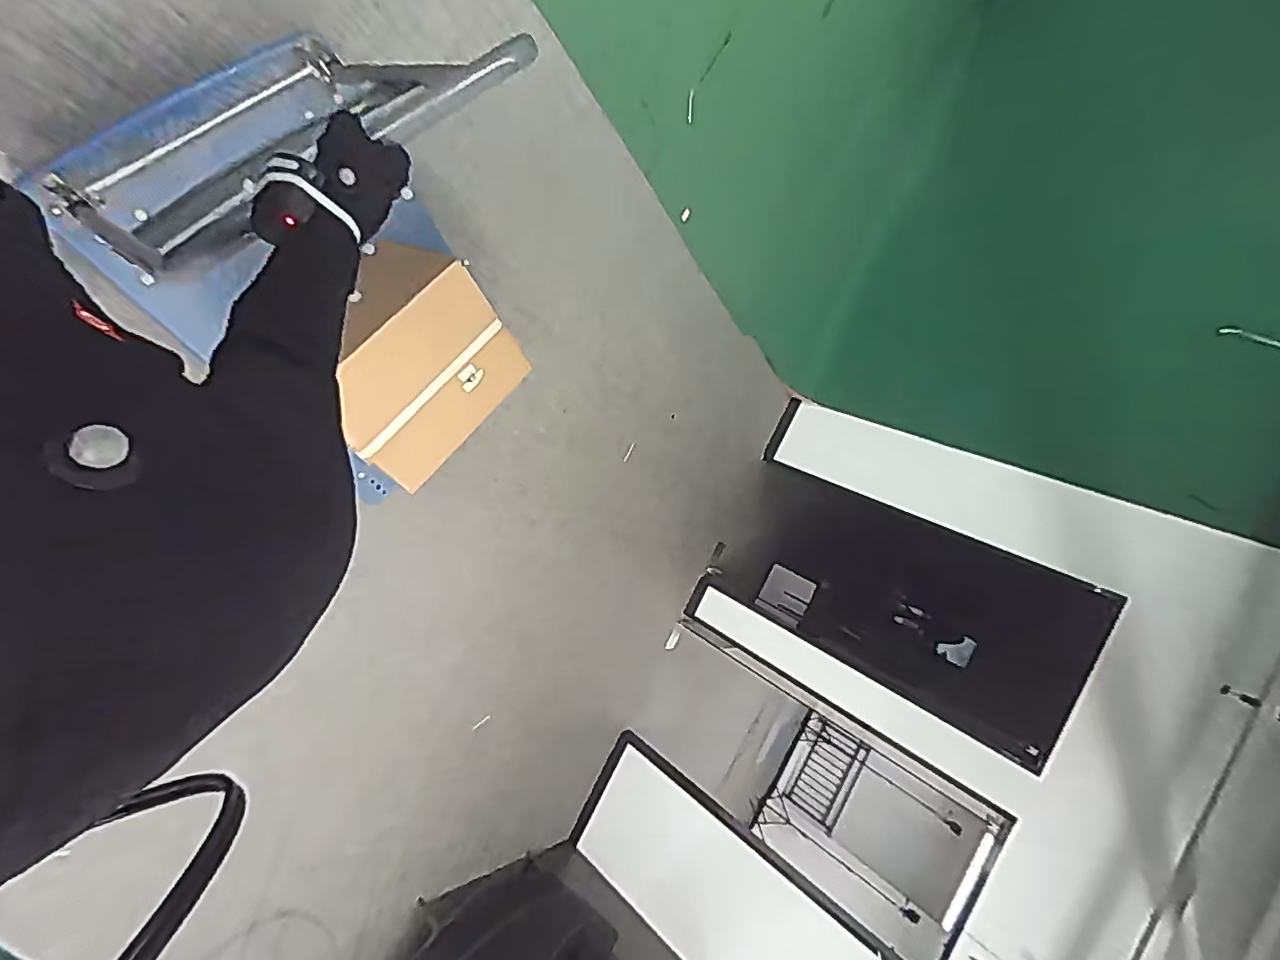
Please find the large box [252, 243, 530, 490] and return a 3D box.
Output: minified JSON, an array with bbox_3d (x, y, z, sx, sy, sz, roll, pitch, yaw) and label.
[{"bbox_3d":[-0.536,-0.259,1.202,0.408,0.320,0.320,-53,145,-17],"label":"large box"}]
